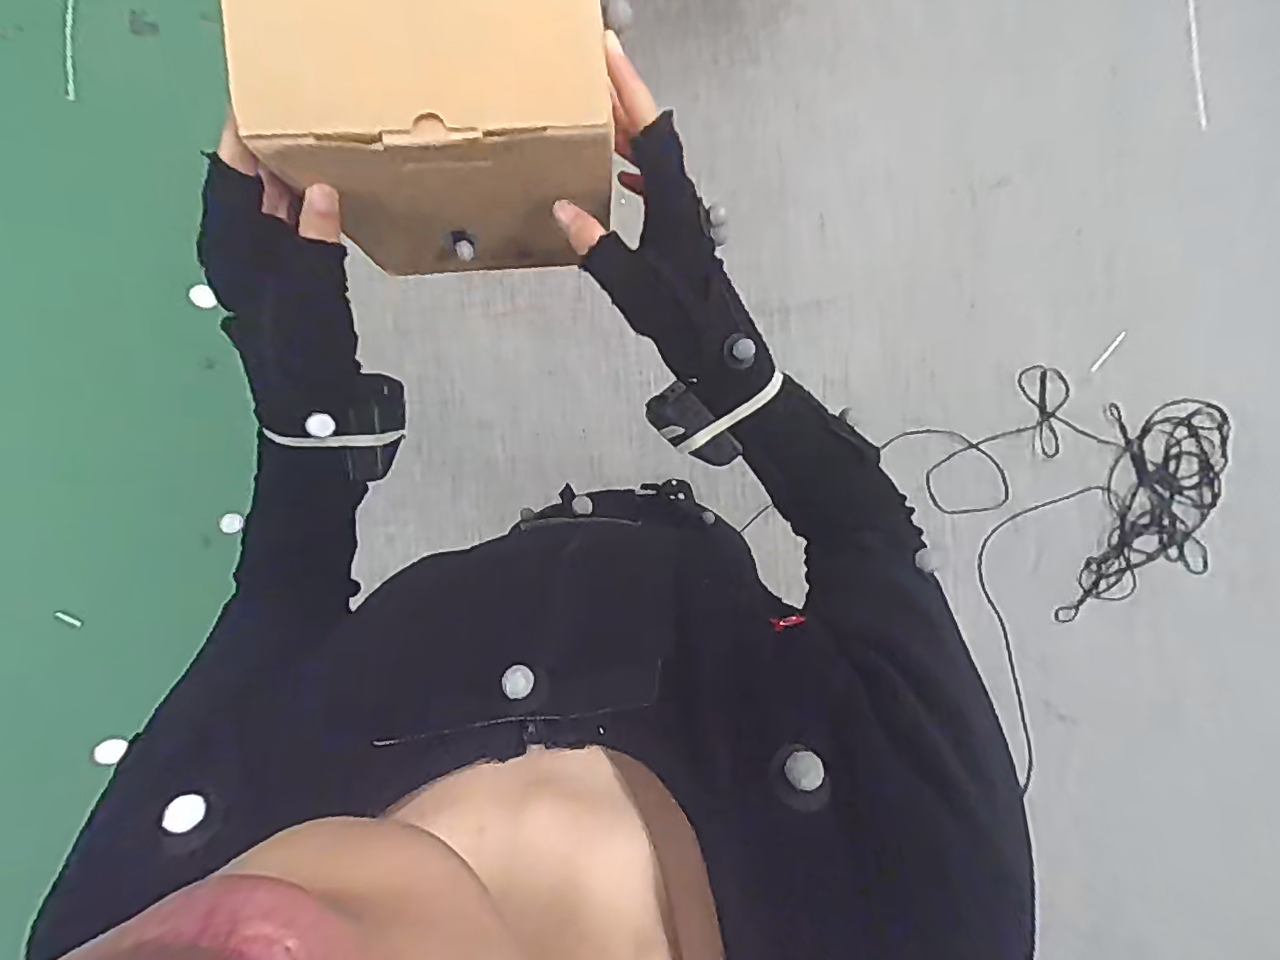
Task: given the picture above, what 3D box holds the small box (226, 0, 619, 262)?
[{"bbox_3d":[-0.104,-0.249,0.316,0.168,0.176,0.179,-5,92,-4],"label":"small box"}]
